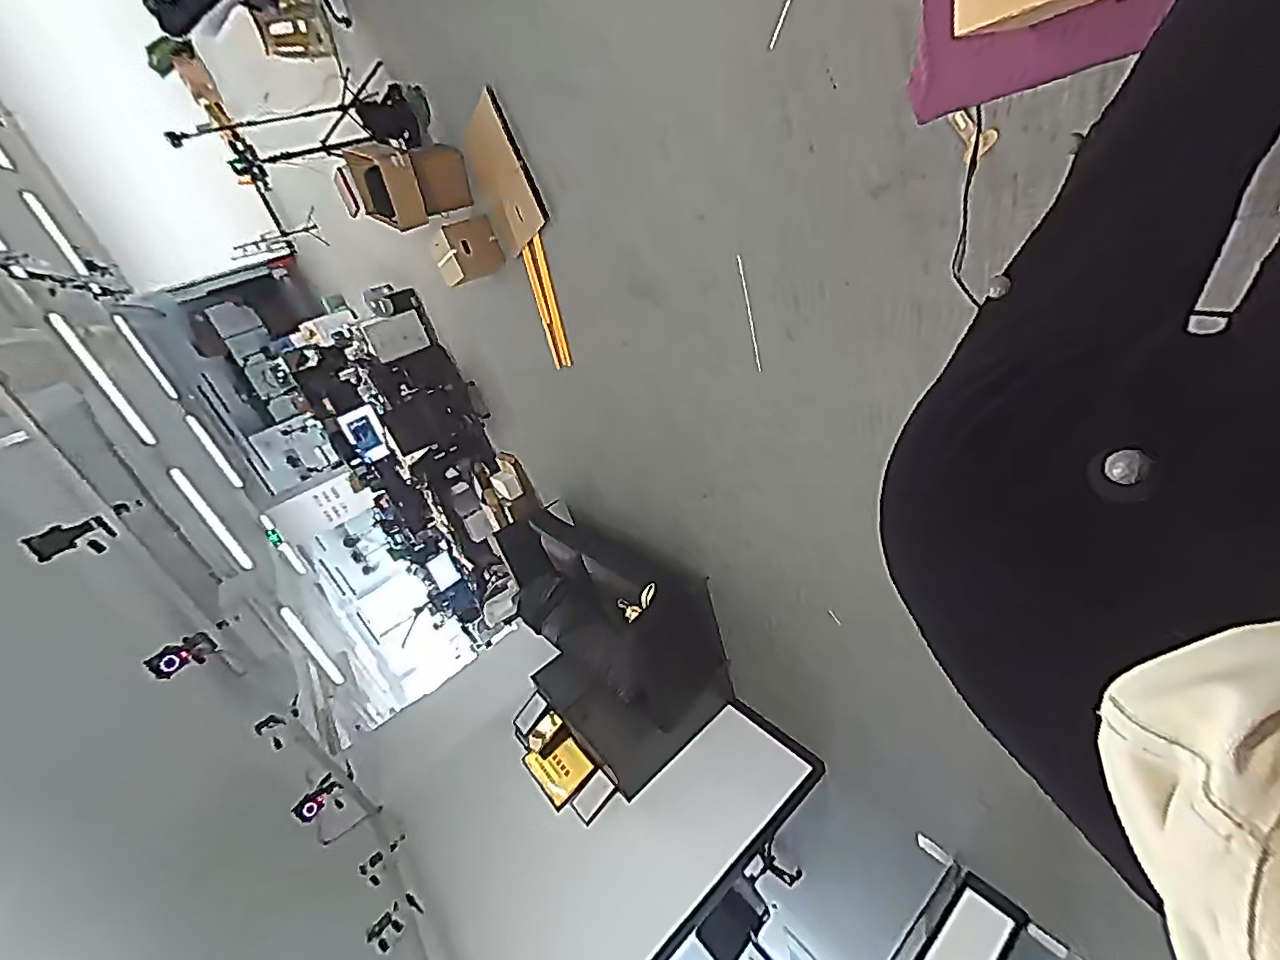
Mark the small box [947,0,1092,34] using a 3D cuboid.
[{"bbox_3d":[0.417,-0.550,0.502,0.179,0.176,0.168,20,134,50],"label":"small box"}]
